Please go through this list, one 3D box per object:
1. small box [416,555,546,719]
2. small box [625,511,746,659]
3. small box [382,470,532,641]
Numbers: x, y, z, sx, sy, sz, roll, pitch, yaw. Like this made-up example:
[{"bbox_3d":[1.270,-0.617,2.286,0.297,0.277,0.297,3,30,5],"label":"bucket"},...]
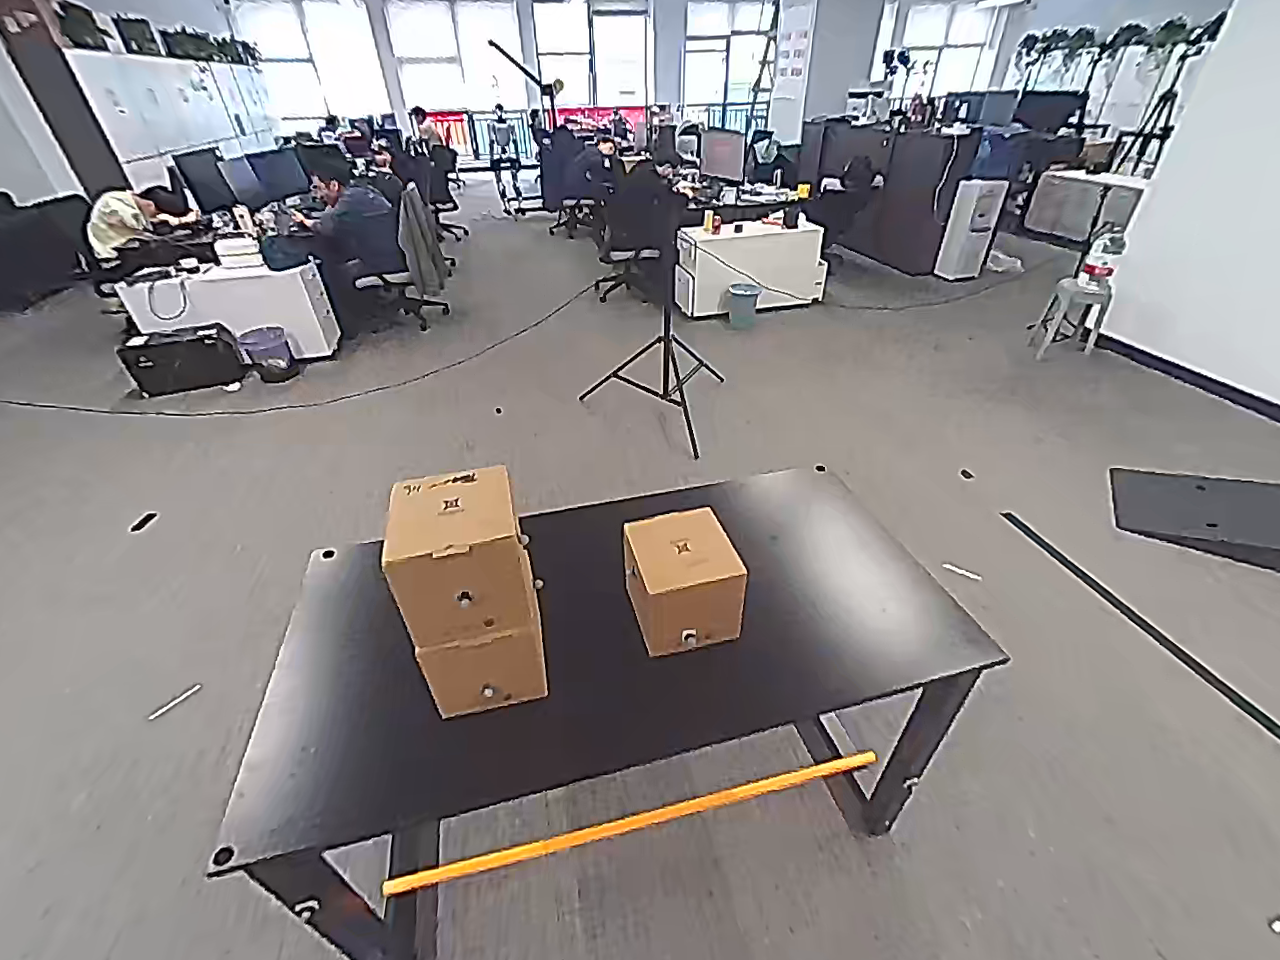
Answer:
[{"bbox_3d":[-0.249,0.251,0.879,0.168,0.176,0.179,-9,36,-9],"label":"small box"},{"bbox_3d":[0.073,0.184,0.960,0.168,0.176,0.179,-12,38,-11],"label":"small box"},{"bbox_3d":[-0.258,0.114,0.790,0.168,0.176,0.179,-11,37,-12],"label":"small box"}]
